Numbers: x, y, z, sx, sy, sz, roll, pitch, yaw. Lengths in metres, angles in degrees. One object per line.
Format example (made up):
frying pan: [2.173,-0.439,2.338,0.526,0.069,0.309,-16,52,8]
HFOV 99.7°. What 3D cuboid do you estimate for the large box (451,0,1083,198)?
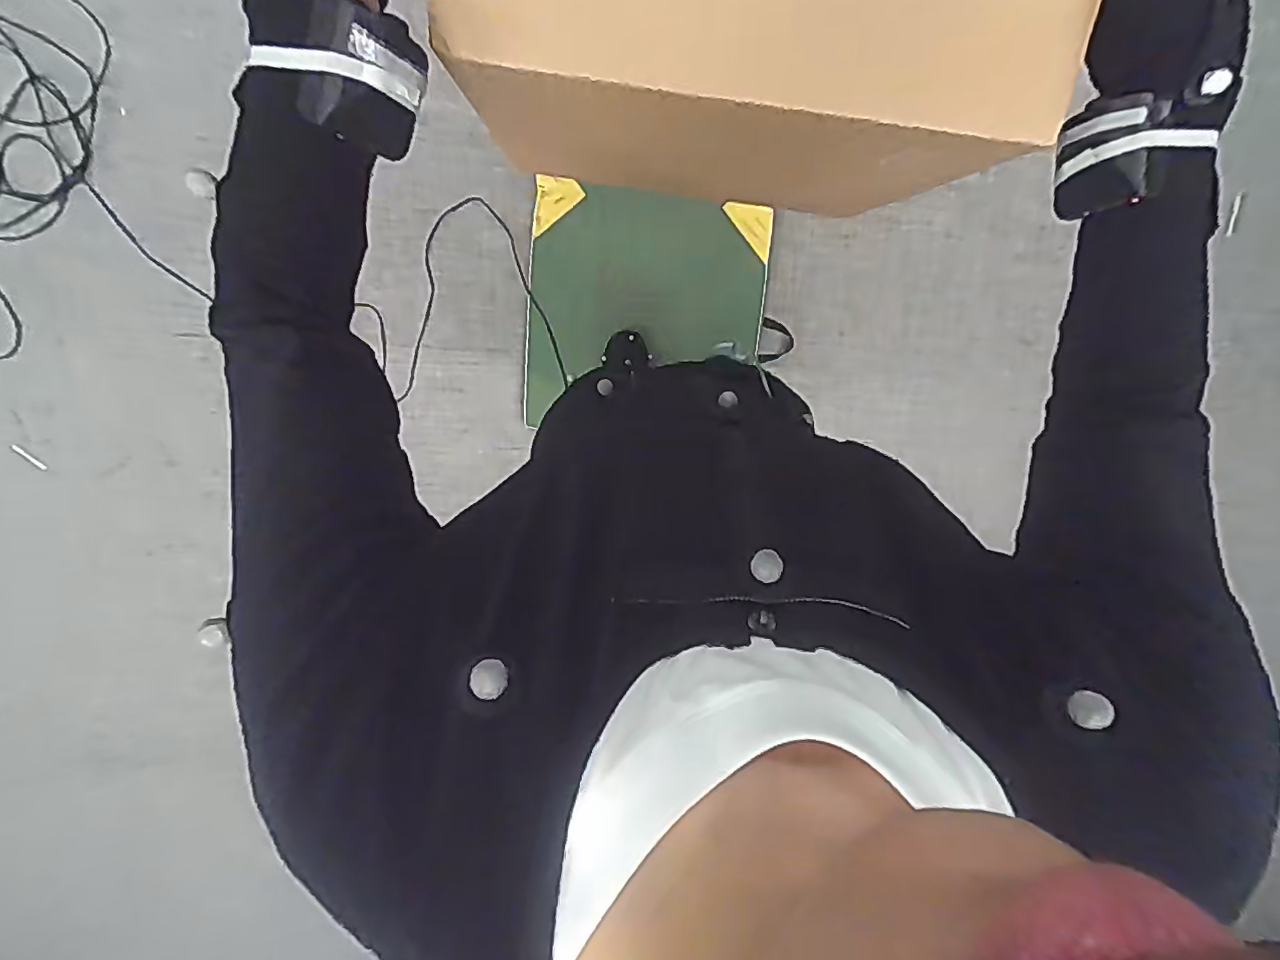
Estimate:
large box: [0.081,-0.445,0.441,0.408,0.320,0.320,4,109,-6]
